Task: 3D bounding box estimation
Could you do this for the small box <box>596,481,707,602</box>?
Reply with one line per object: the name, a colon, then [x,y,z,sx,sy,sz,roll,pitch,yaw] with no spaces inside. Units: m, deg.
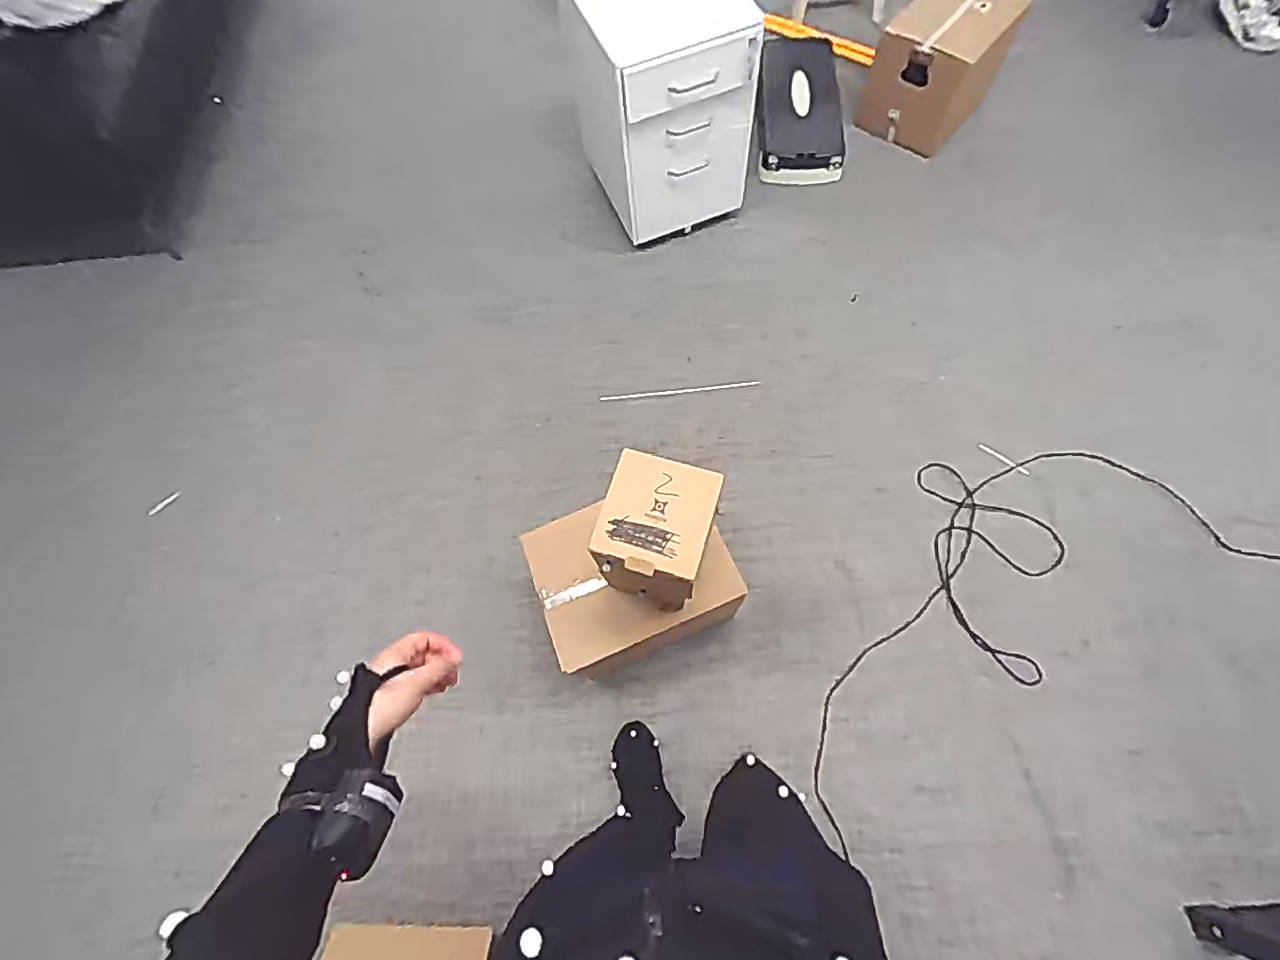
small box: [0.029,0.127,1.056,0.168,0.176,0.179,16,72,10]
